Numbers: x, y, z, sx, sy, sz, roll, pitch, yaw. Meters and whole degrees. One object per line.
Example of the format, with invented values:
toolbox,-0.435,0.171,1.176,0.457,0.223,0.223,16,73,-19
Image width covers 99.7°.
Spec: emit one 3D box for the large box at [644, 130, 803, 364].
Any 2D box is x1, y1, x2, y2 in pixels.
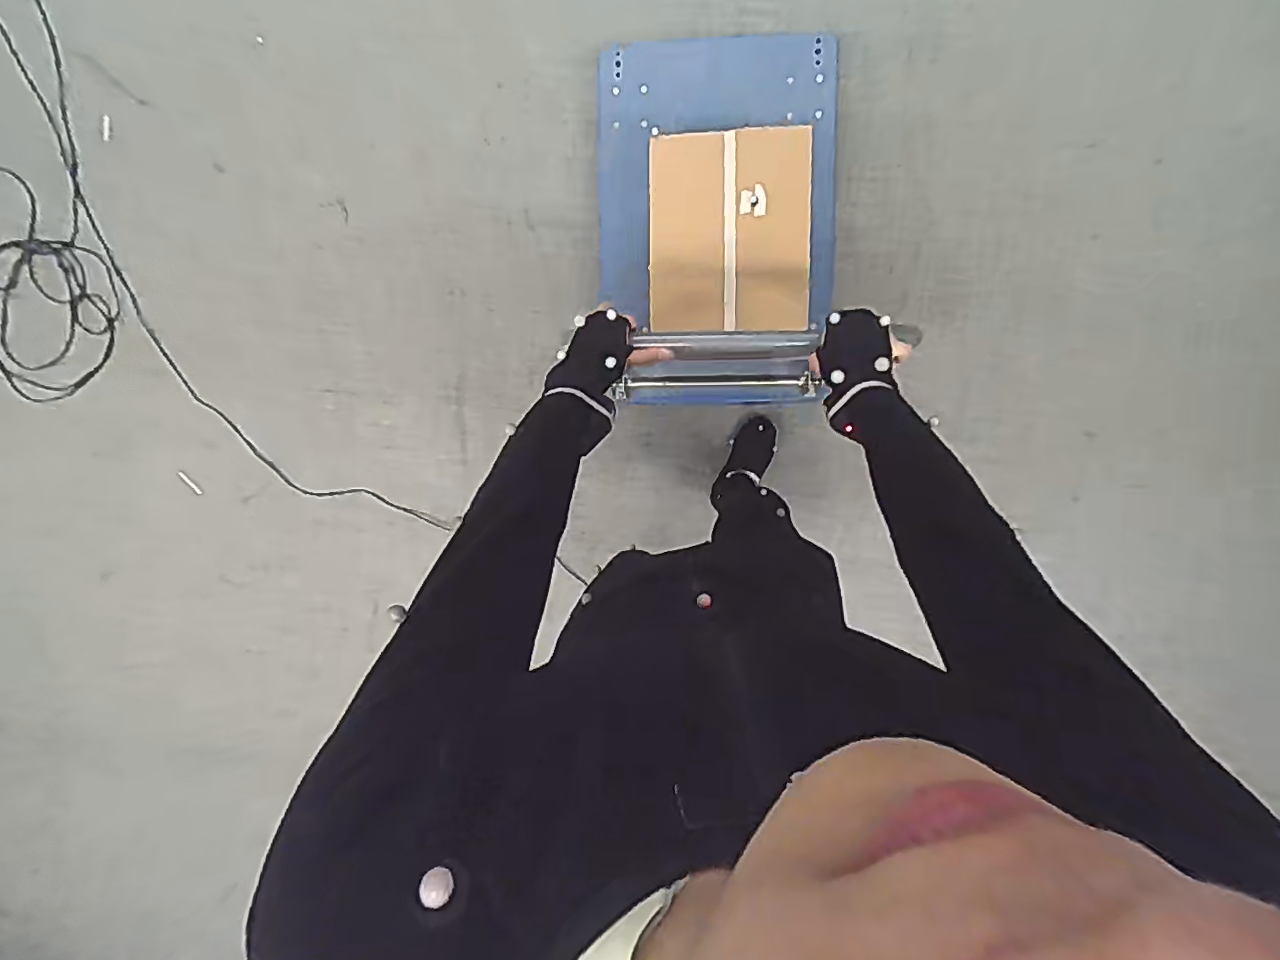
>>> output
large box,0.182,-0.488,1.222,0.320,0.320,0.408,0,94,5
